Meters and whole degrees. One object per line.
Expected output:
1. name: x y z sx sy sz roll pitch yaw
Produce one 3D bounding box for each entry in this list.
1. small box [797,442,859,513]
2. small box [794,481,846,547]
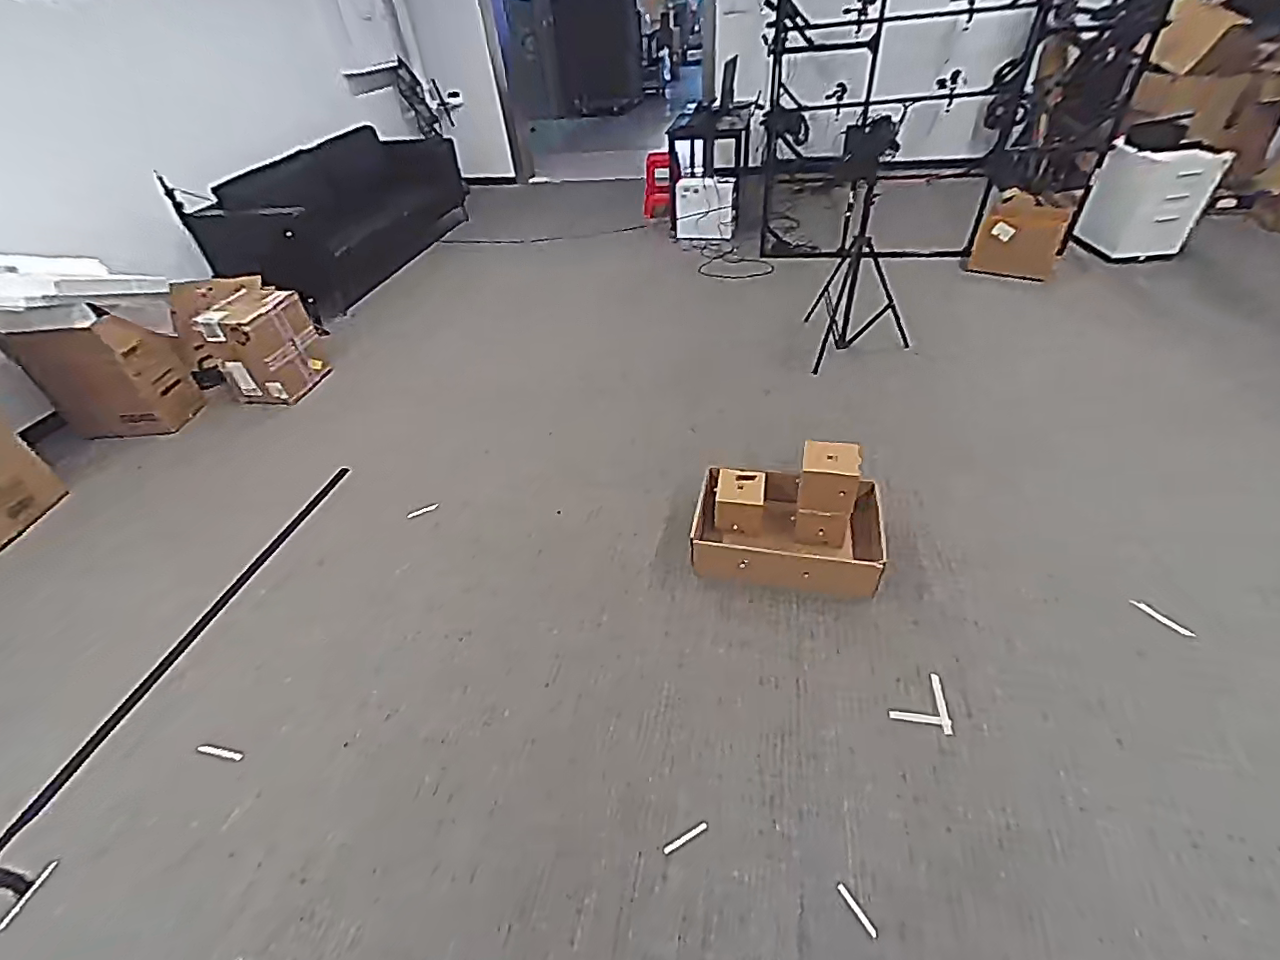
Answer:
1. small box: 0.627 -0.007 1.809 0.179 0.176 0.168 5 41 16
2. small box: 0.639 0.119 1.915 0.168 0.176 0.179 4 44 16
